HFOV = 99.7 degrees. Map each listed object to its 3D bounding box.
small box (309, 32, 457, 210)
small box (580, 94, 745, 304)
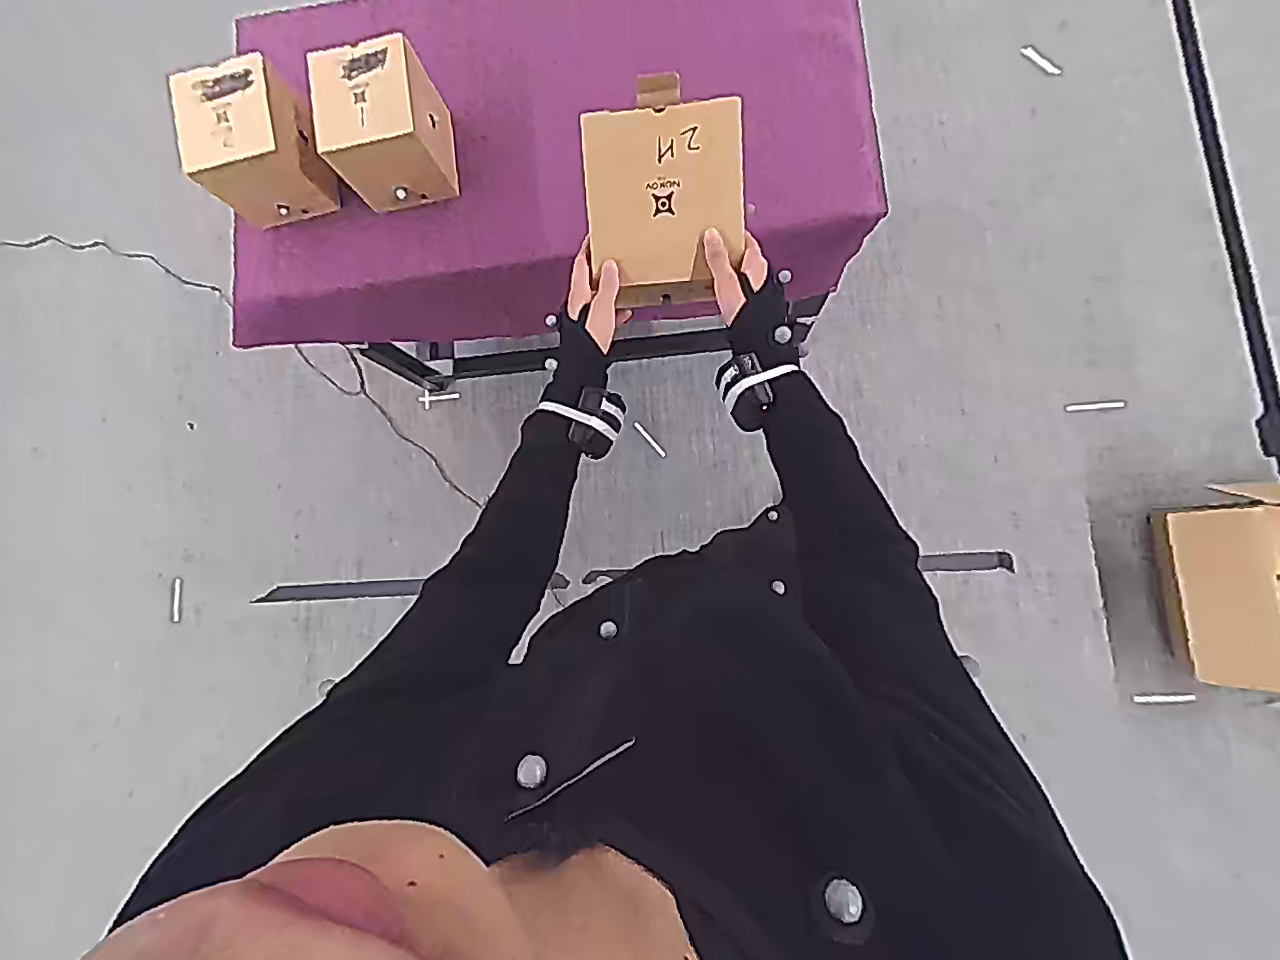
[{"bbox_3d":[-0.434,-0.606,0.932,0.168,0.176,0.179,-9,84,5],"label":"small box"},{"bbox_3d":[0.032,-0.305,0.629,0.168,0.176,0.179,-3,100,5],"label":"small box"}]
